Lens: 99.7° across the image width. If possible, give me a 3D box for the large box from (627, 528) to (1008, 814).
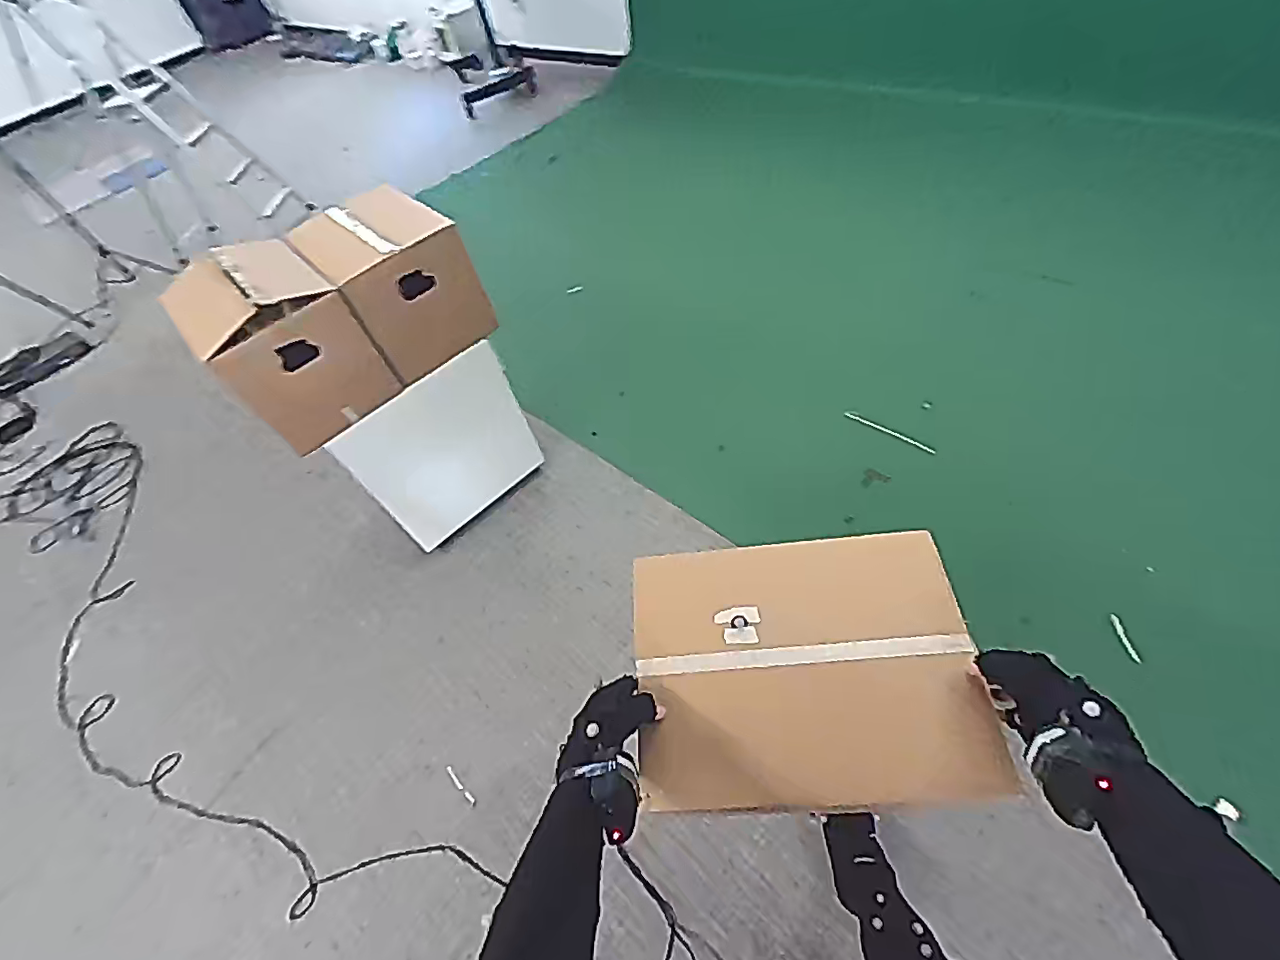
[{"bbox_3d":[0.211,0.296,0.787,0.408,0.320,0.320,-7,56,8],"label":"large box"}]
